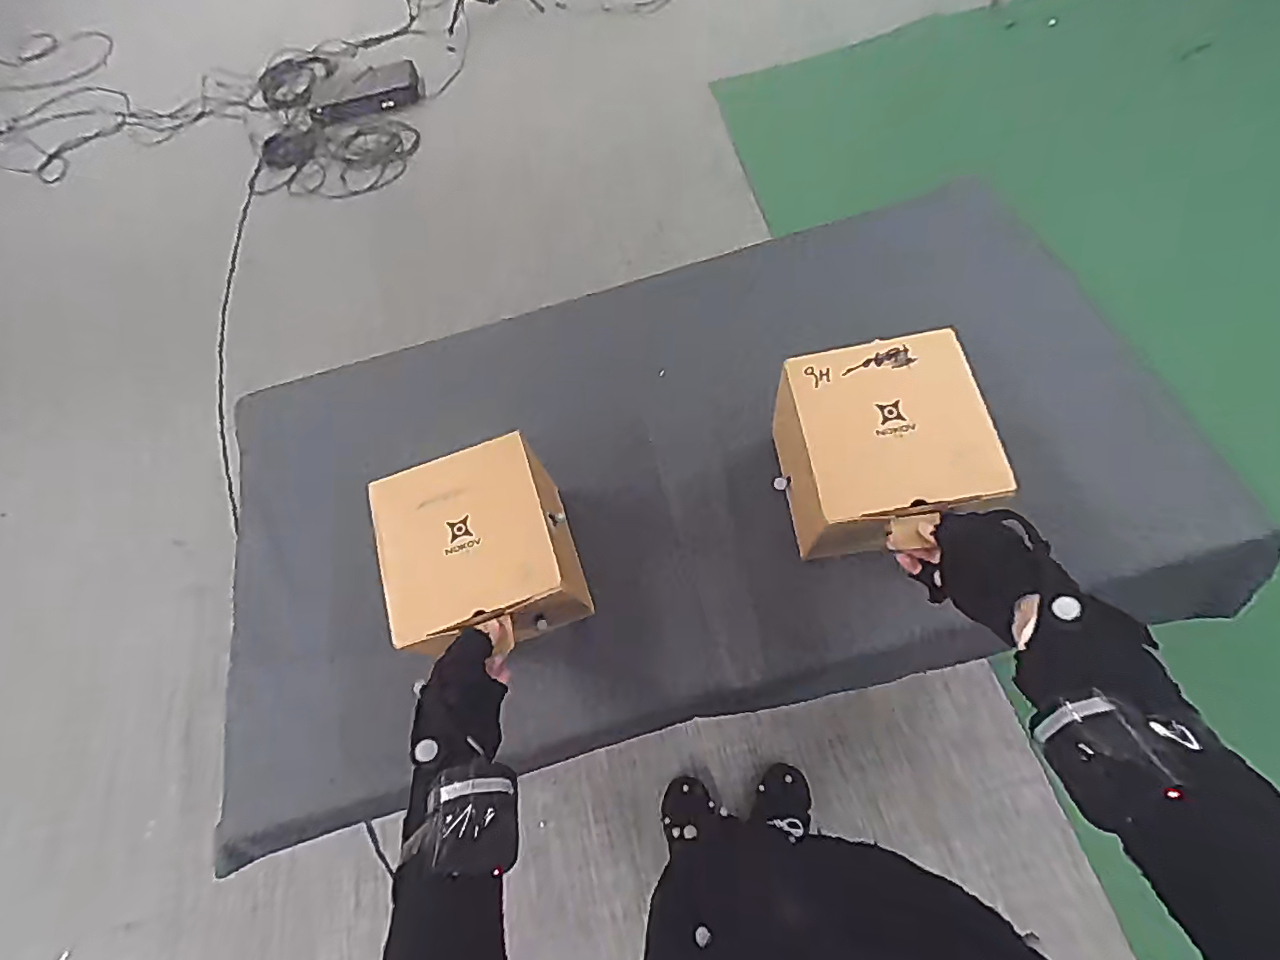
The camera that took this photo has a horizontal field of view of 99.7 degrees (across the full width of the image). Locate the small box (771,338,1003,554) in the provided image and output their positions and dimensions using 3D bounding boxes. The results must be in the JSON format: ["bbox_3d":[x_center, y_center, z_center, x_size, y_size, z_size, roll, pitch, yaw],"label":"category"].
[{"bbox_3d":[0.245,-0.022,0.589,0.168,0.176,0.179,-10,70,5],"label":"small box"}]

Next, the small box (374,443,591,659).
[{"bbox_3d":[-0.166,0.092,0.611,0.168,0.176,0.179,-21,66,-3],"label":"small box"}]
